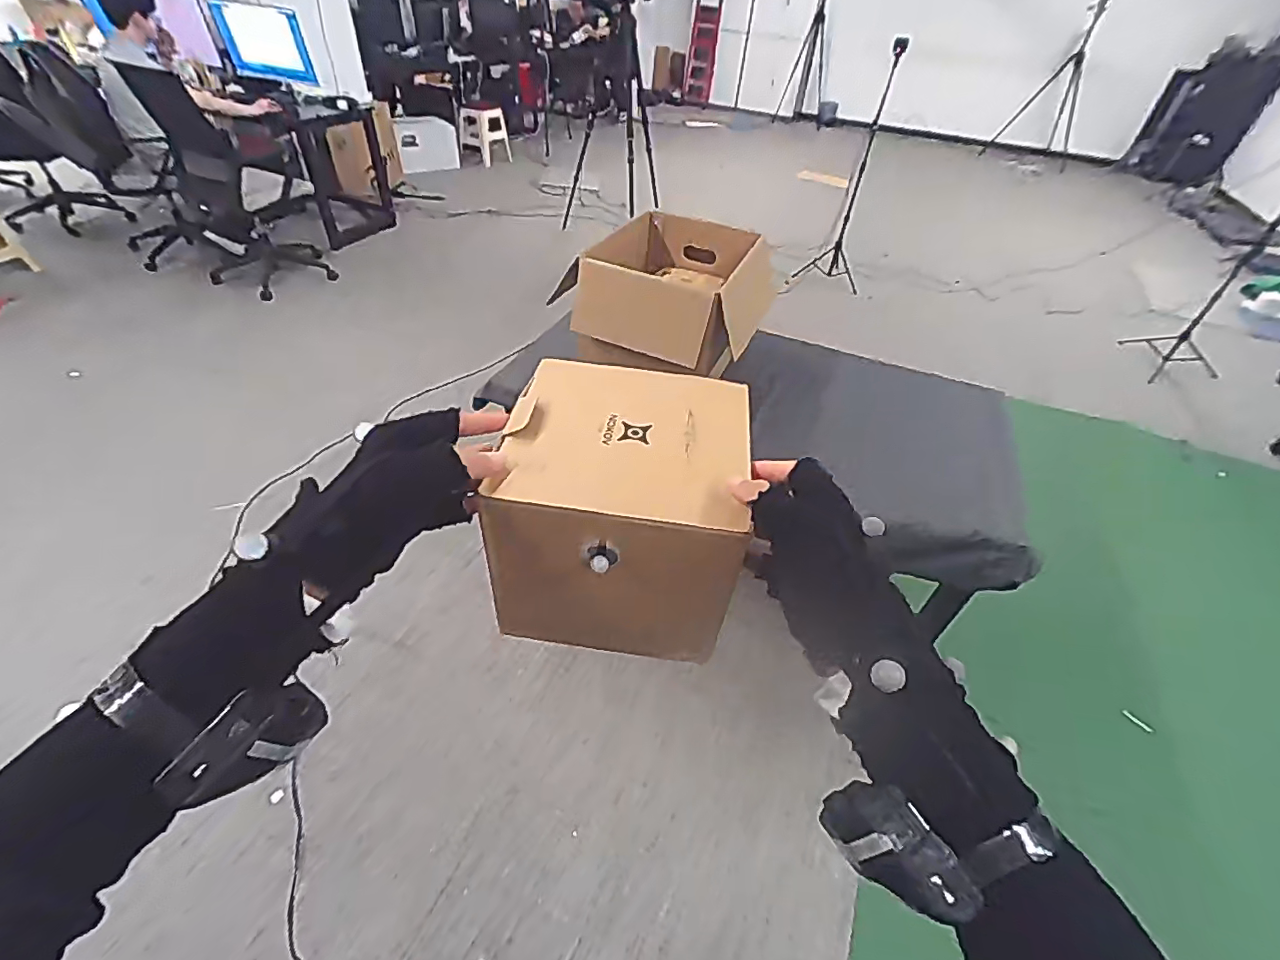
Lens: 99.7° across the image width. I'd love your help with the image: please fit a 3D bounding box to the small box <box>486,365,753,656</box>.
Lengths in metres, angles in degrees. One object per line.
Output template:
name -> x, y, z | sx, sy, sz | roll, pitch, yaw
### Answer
small box -> -0.011, 0.027, 0.454 | 0.179, 0.176, 0.168 | 8, 44, 1
